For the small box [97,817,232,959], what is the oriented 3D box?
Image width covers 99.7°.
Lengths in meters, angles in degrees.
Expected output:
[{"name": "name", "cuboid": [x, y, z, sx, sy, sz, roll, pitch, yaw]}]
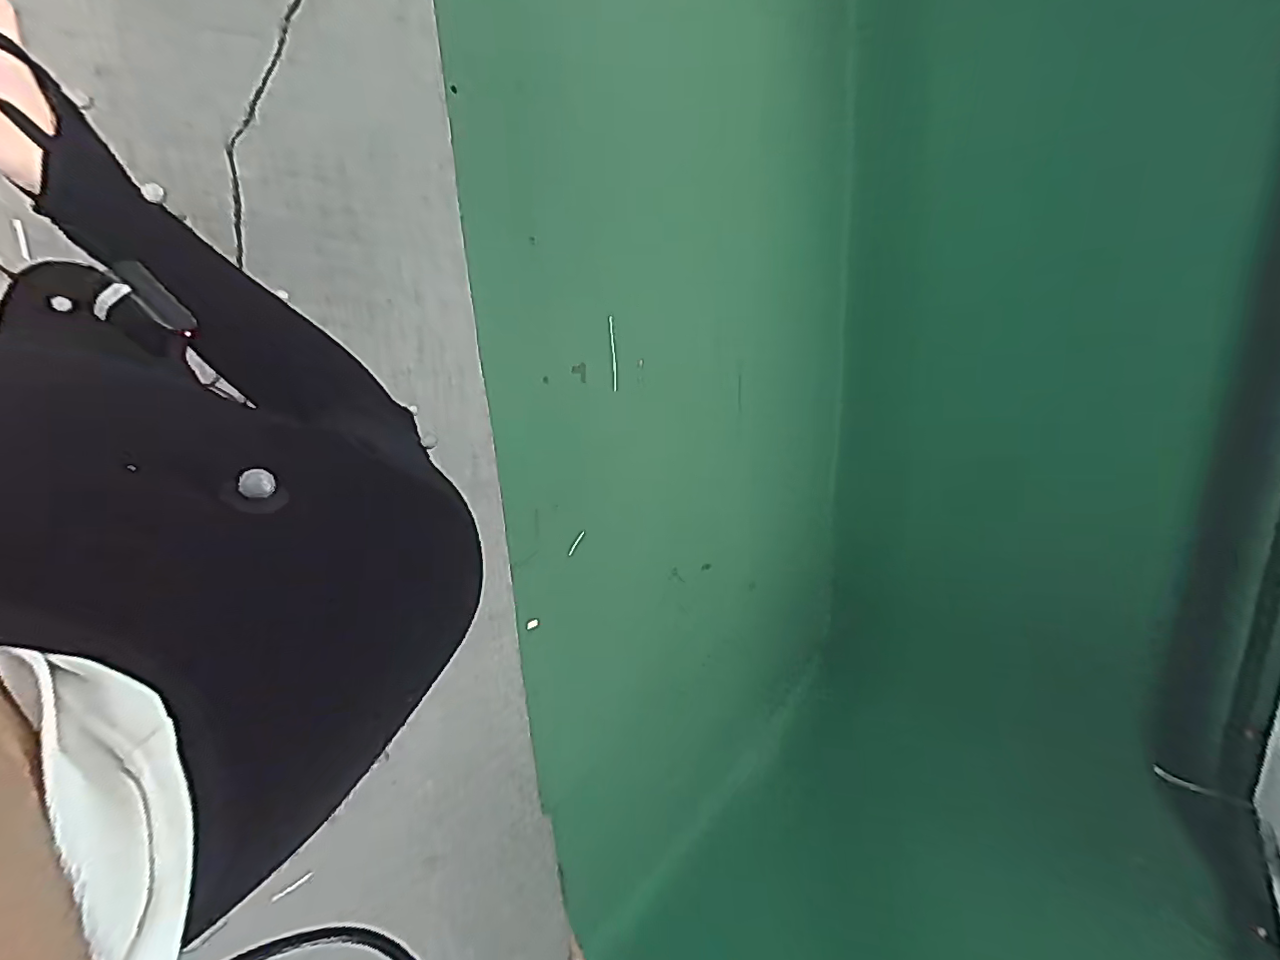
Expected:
[{"name": "small box", "cuboid": [-1.026, 0.883, 1.168, 0.179, 0.176, 0.168, -21, 112, -43]}]
